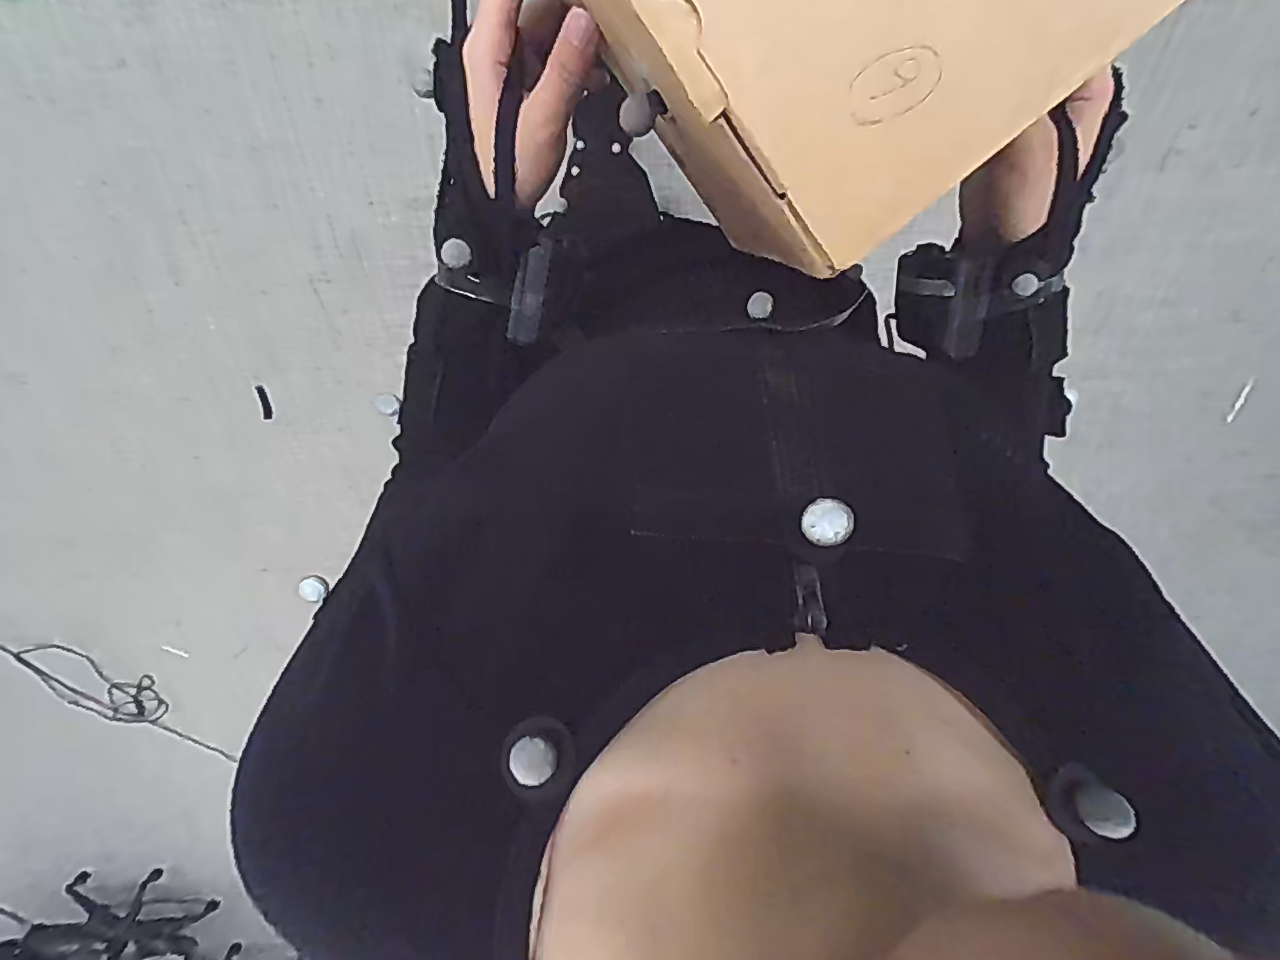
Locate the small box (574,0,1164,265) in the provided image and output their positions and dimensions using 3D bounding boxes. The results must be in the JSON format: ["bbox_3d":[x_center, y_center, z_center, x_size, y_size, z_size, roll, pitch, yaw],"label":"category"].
[{"bbox_3d":[0.071,-0.206,0.195,0.179,0.176,0.168,-37,111,17],"label":"small box"}]
